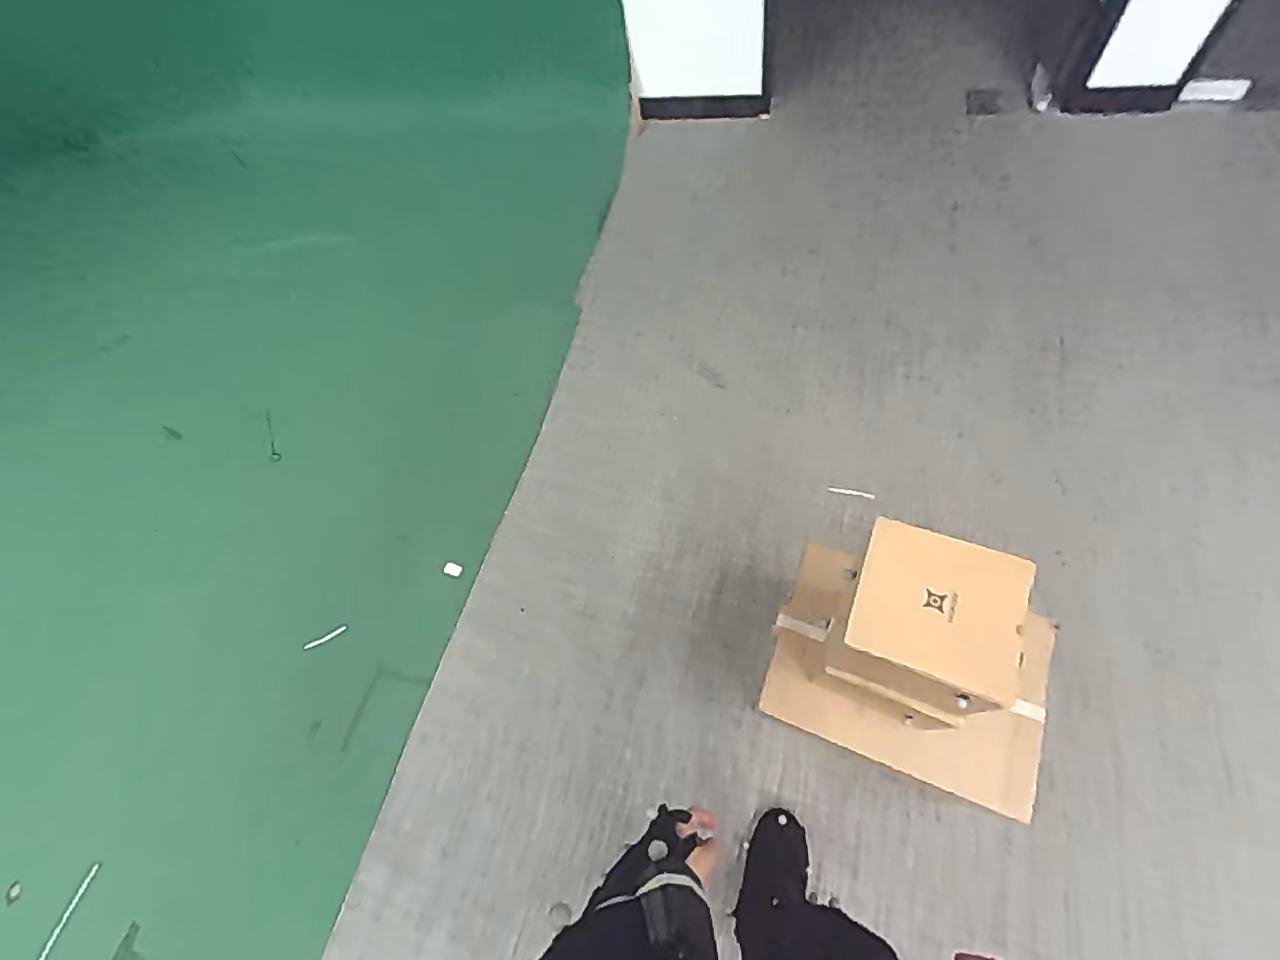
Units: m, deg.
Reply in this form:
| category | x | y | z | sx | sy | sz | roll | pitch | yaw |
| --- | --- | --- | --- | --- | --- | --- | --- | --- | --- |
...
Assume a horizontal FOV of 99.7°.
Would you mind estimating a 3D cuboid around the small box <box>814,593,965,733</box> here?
| category | x | y | z | sx | sy | sz | roll | pitch | yaw |
| --- | --- | --- | --- | --- | --- | --- | --- | --- | --- |
| small box | 0.376 | 0.262 | 0.812 | 0.179 | 0.176 | 0.168 | 17 | 68 | 19 |

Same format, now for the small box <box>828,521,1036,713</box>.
| category | x | y | z | sx | sy | sz | roll | pitch | yaw |
| --- | --- | --- | --- | --- | --- | --- | --- | --- | --- |
| small box | 0.348 | 0.177 | 0.675 | 0.179 | 0.176 | 0.168 | 17 | 68 | 18 |

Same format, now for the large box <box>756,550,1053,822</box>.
| category | x | y | z | sx | sy | sz | roll | pitch | yaw |
| --- | --- | --- | --- | --- | --- | --- | --- | --- | --- |
| large box | 0.457 | 0.372 | 1.016 | 0.408 | 0.320 | 0.320 | 17 | 70 | 17 |
